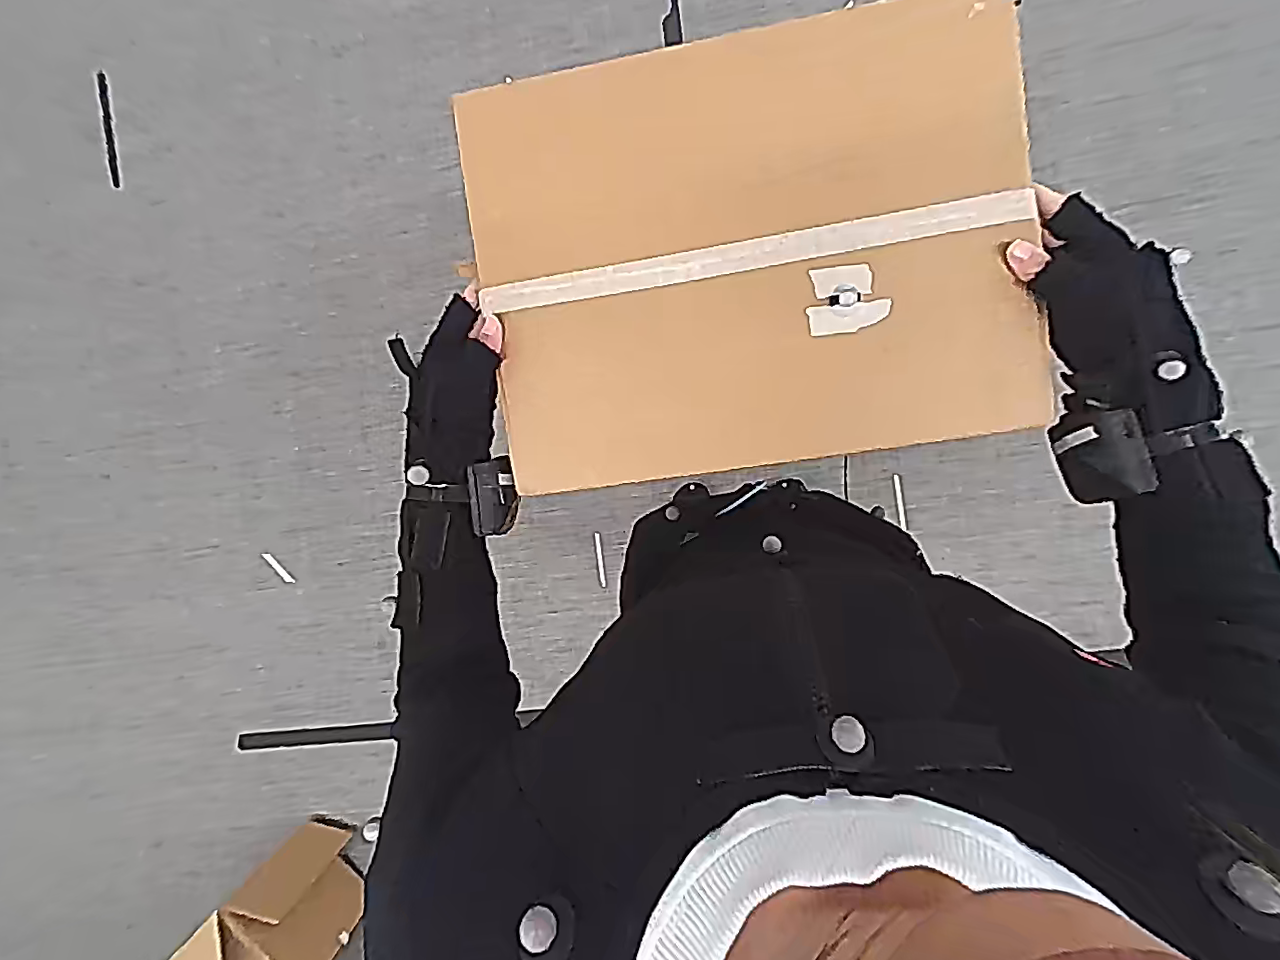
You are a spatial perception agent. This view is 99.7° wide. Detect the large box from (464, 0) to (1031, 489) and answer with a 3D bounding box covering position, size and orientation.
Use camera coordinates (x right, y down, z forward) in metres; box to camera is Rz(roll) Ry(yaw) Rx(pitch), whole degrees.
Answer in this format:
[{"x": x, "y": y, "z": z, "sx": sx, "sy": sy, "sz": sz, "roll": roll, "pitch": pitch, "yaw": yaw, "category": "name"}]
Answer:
[{"x": 0.088, "y": -0.184, "z": 0.563, "sx": 0.408, "sy": 0.320, "sz": 0.320, "roll": -8, "pitch": 95, "yaw": 5, "category": "large box"}]
